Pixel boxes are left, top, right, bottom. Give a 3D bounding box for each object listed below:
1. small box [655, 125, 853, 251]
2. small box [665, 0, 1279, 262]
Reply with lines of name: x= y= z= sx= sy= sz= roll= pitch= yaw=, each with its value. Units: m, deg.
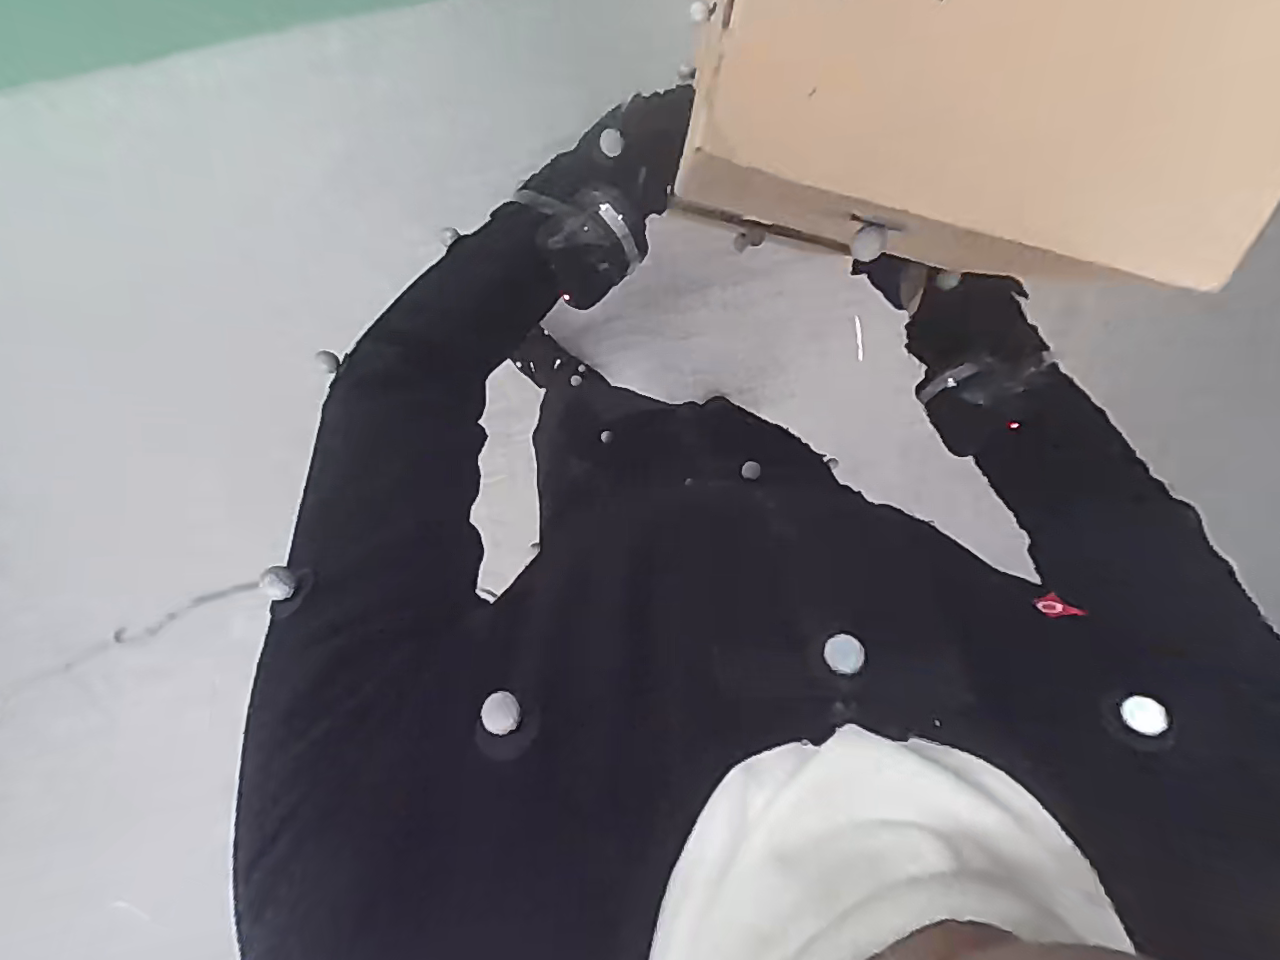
small box: x=0.116 y=-0.324 z=0.511 sx=0.179 sy=0.176 sz=0.168 roll=11 pitch=113 yaw=-4
small box: x=0.111 y=-0.192 z=0.213 sx=0.179 sy=0.176 sz=0.168 roll=12 pitch=114 yaw=-4
